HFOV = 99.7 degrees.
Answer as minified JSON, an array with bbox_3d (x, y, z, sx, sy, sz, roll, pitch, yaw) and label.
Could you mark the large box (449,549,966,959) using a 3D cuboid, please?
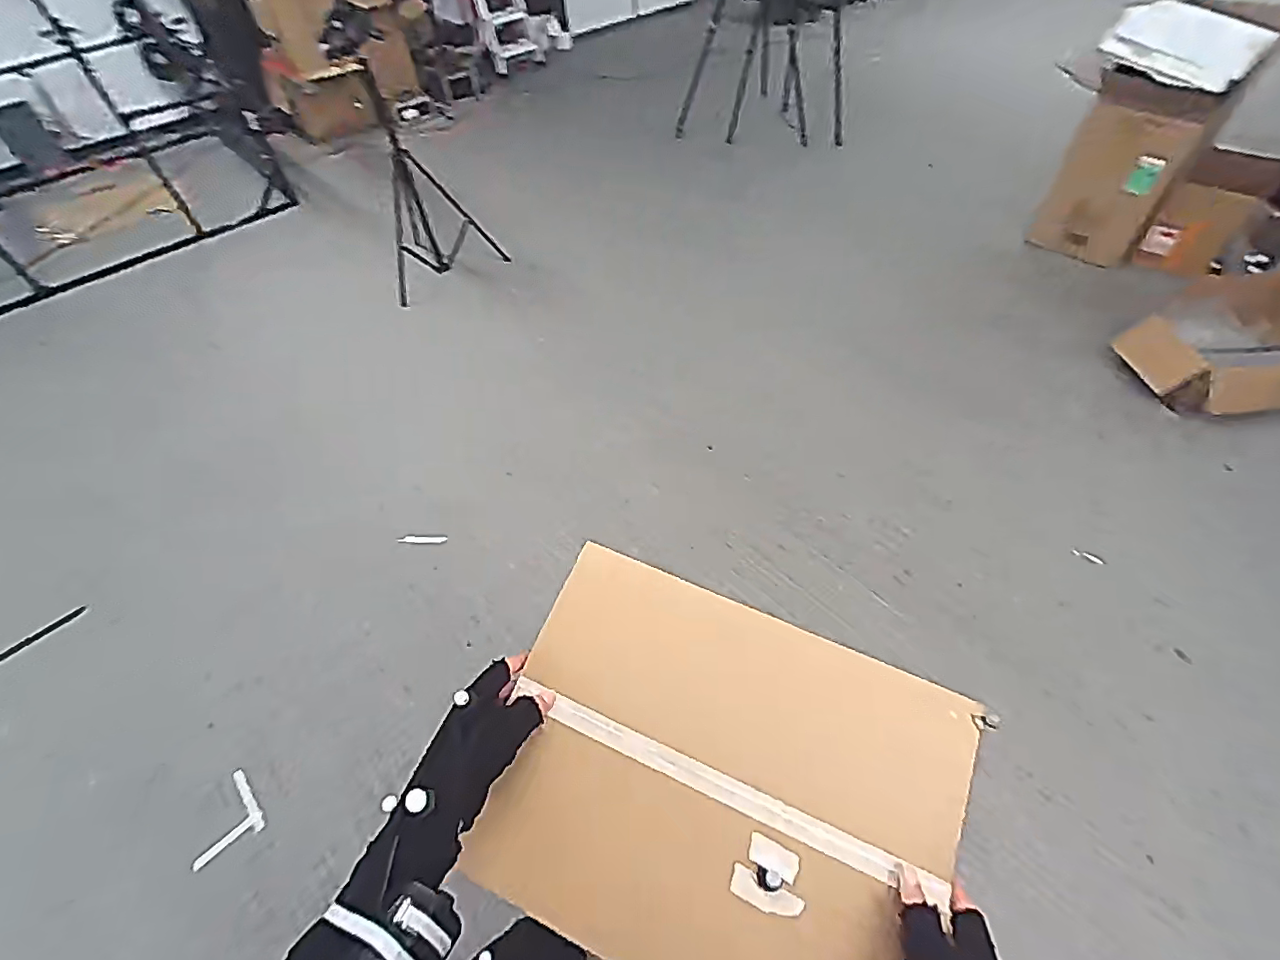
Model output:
[{"bbox_3d":[0.074,0.323,0.630,0.408,0.320,0.320,20,71,12],"label":"large box"}]
